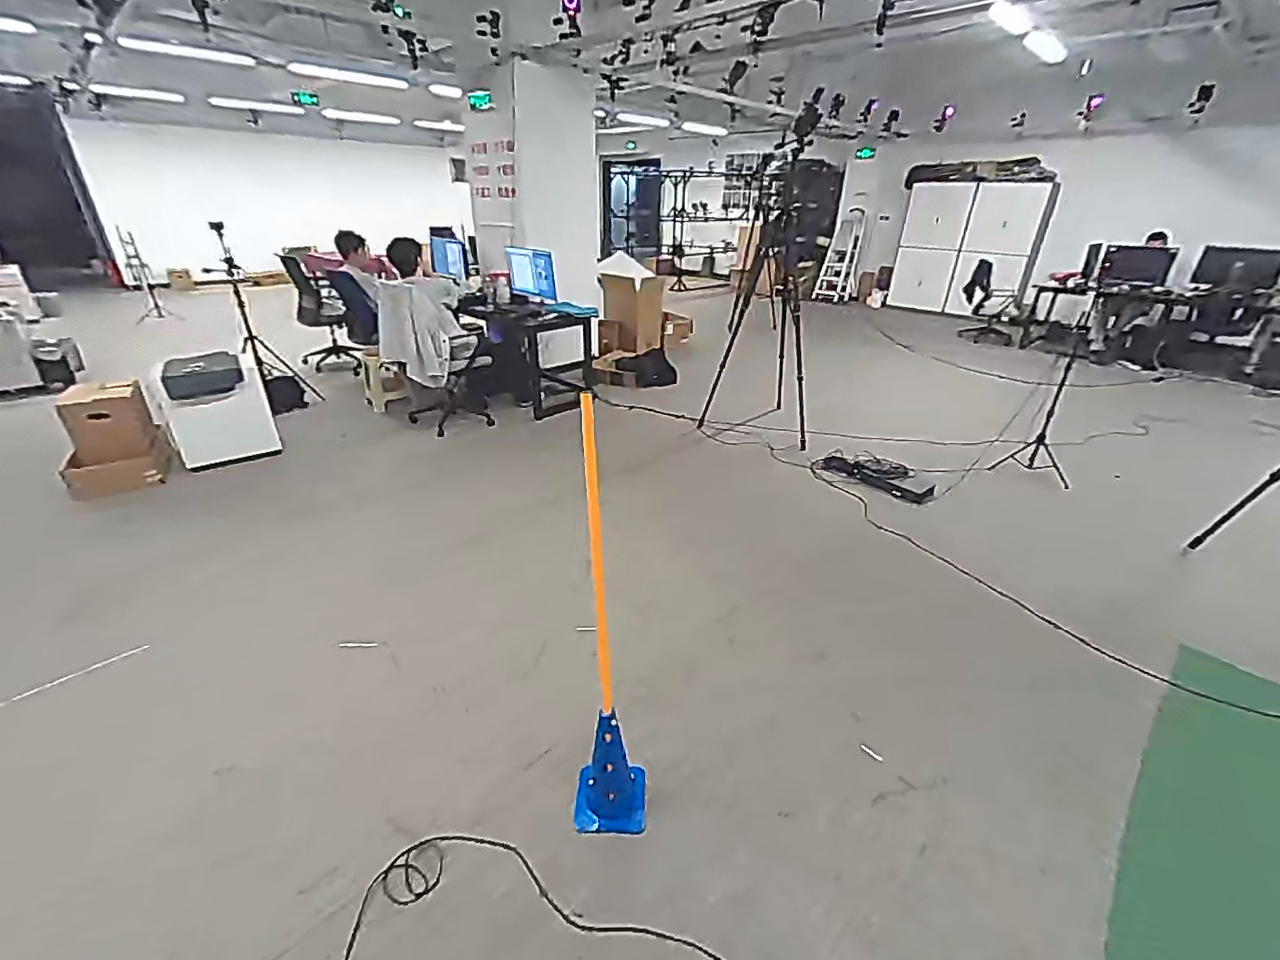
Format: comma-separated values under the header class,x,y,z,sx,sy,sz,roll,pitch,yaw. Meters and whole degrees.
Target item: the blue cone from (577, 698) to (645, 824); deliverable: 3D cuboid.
class,x,y,z,sx,sy,sz,roll,pitch,yaw
blue cone,-0.082,0.752,1.492,0.192,0.380,0.193,0,25,0
